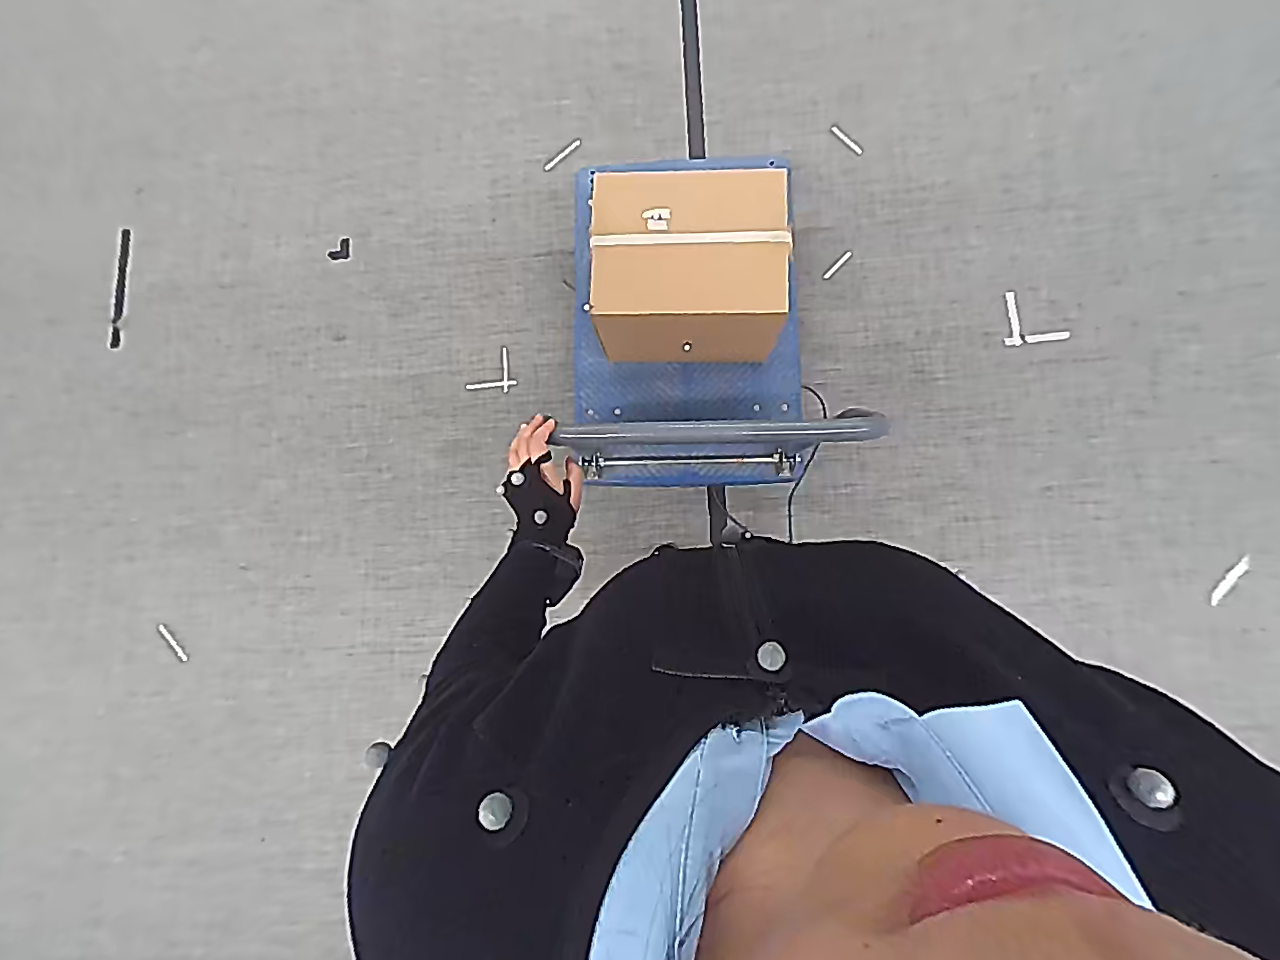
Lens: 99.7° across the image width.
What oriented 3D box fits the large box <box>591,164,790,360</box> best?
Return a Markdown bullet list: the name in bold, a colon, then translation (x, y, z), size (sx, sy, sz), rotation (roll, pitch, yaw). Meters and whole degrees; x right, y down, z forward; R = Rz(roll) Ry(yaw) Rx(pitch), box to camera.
- **large box**: translation (0.114, -0.473, 1.244), size (0.408, 0.320, 0.320), rotation (0, 83, 5)
